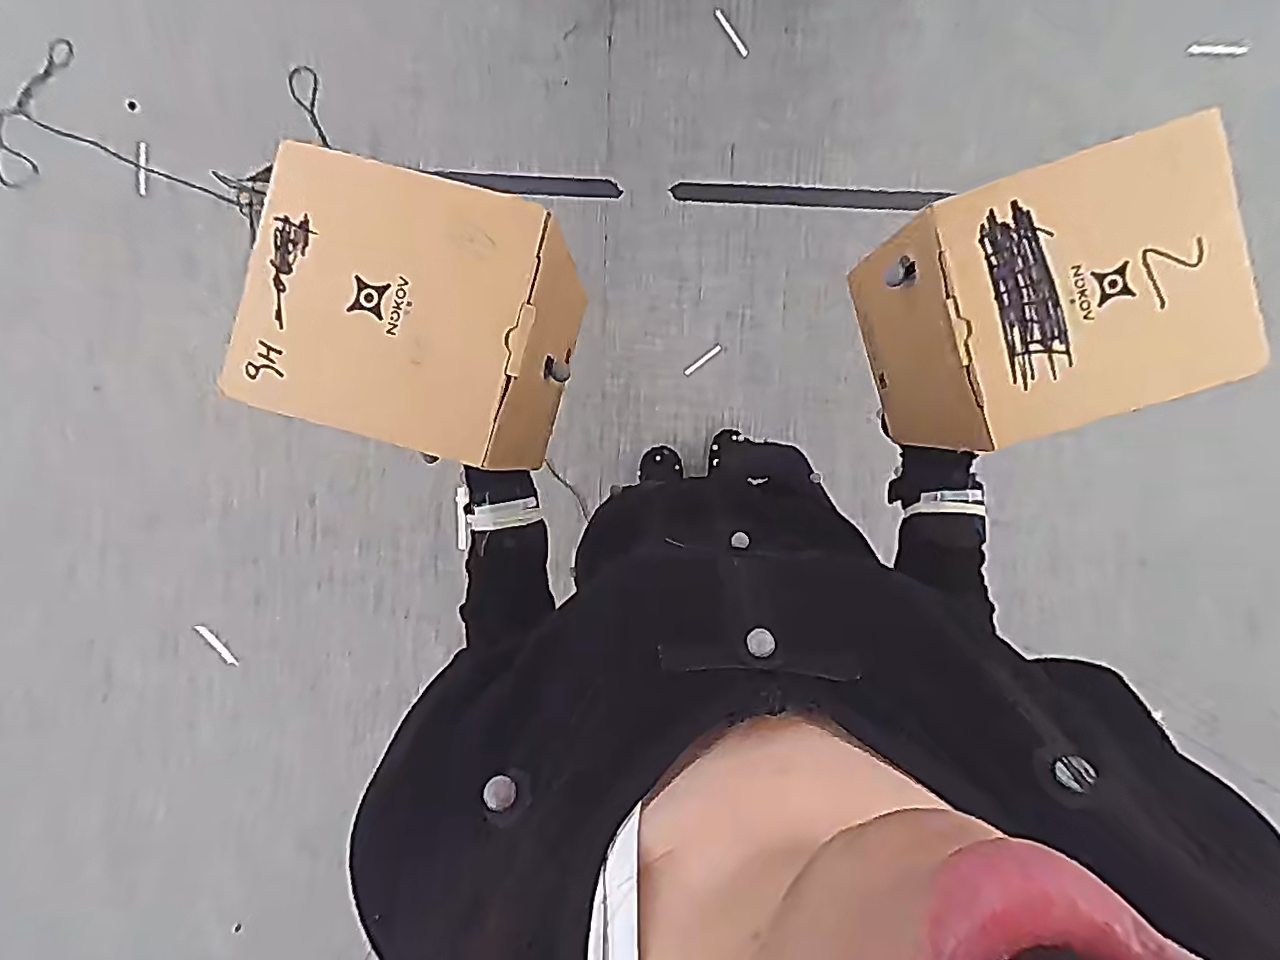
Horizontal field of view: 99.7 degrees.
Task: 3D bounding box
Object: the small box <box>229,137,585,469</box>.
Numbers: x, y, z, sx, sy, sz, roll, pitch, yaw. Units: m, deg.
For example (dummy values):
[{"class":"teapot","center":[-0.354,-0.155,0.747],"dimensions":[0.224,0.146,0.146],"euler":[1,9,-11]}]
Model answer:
[{"class":"small box","center":[-0.149,-0.111,0.411],"dimensions":[0.179,0.176,0.168],"euler":[16,91,0]}]
